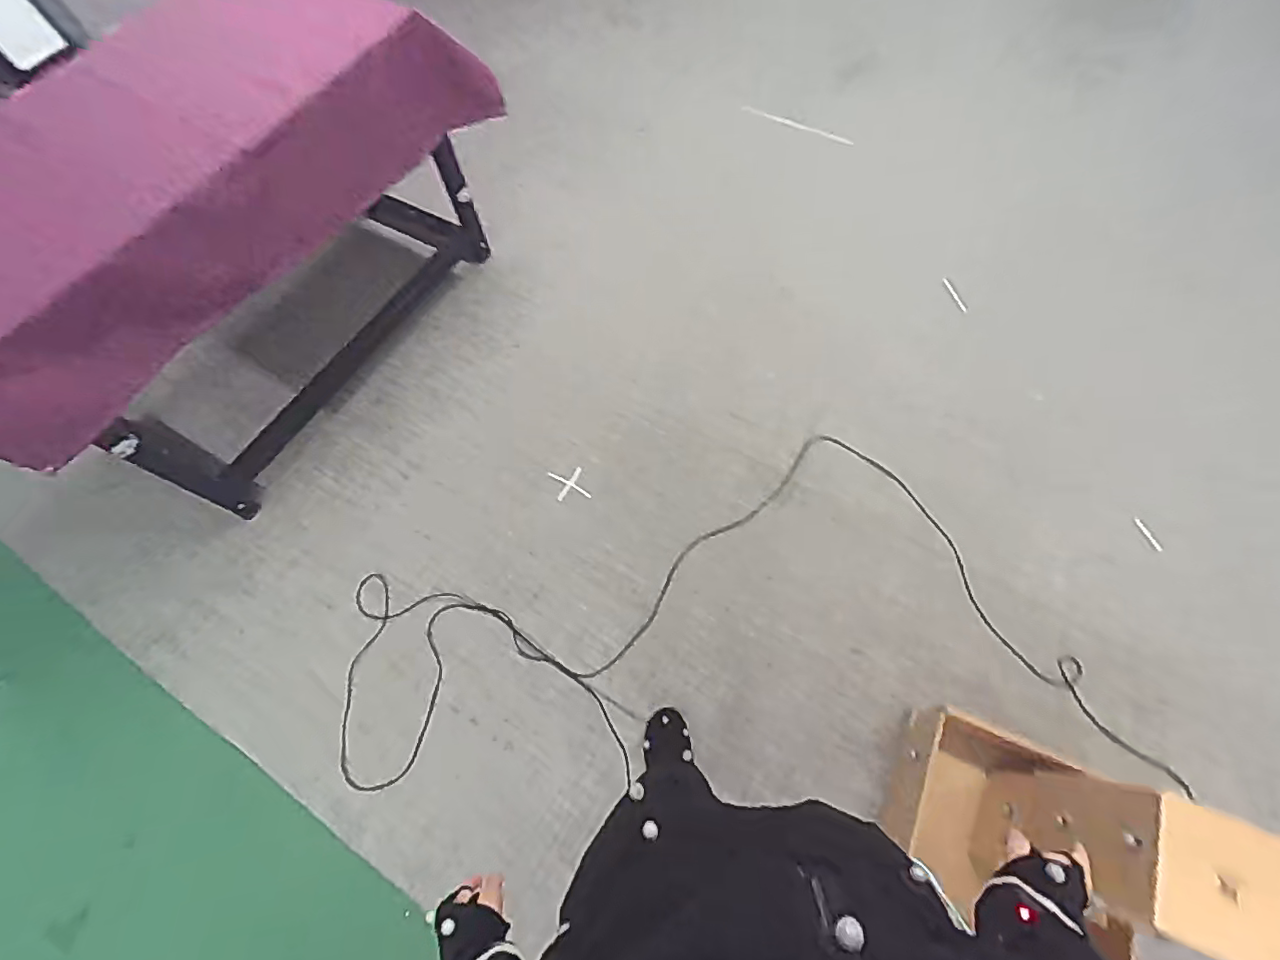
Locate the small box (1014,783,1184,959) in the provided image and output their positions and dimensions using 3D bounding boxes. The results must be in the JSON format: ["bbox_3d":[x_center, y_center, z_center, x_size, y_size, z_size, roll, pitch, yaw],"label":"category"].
[{"bbox_3d":[0.779,0.645,0.919,0.168,0.176,0.179,25,70,16],"label":"small box"}]

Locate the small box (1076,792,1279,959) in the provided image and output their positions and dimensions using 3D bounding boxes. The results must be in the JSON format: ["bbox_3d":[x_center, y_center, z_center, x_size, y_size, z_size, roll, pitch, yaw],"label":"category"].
[{"bbox_3d":[0.768,0.576,0.772,0.168,0.176,0.179,20,67,14],"label":"small box"}]
